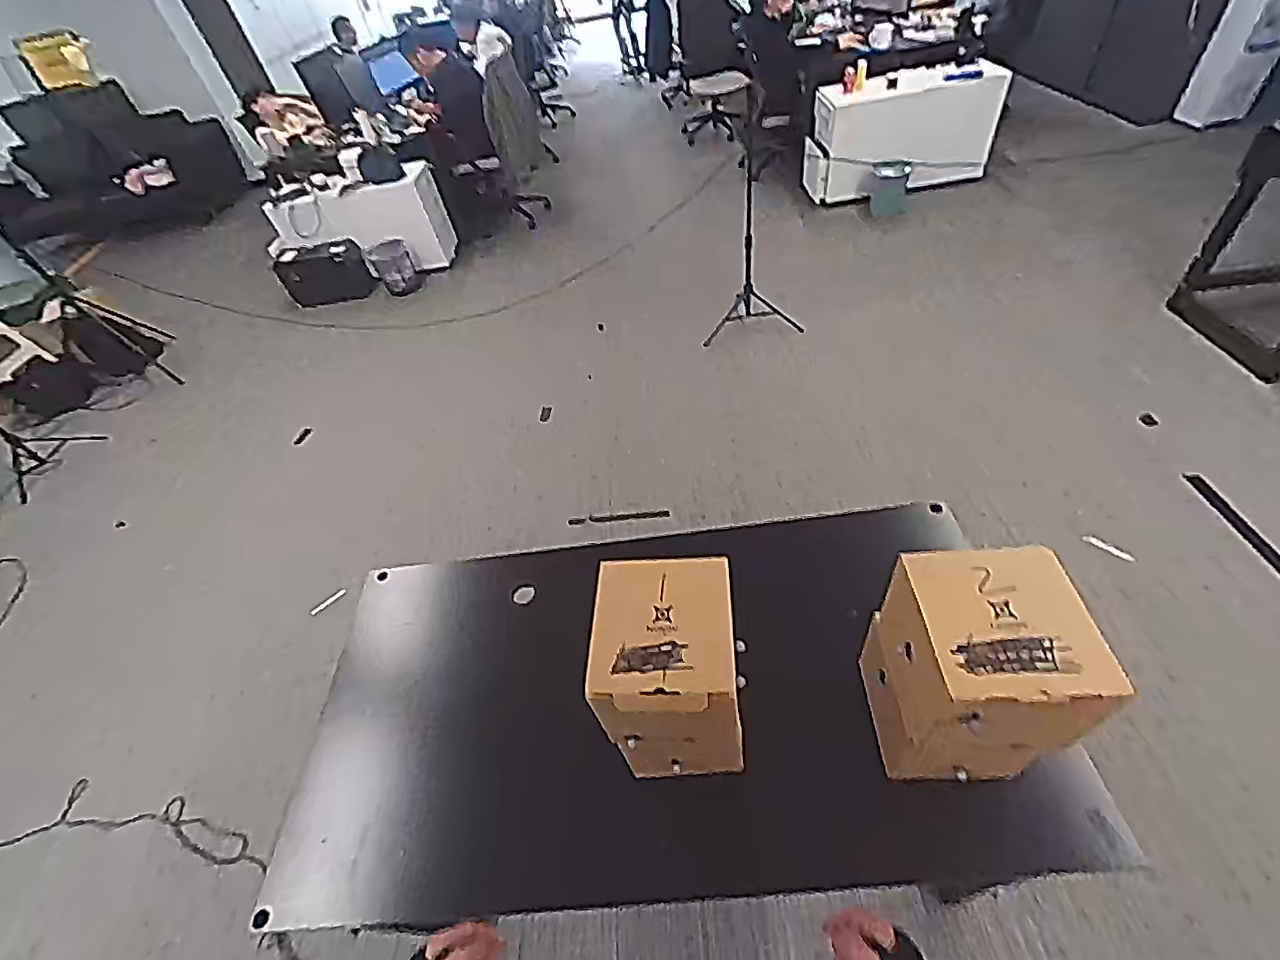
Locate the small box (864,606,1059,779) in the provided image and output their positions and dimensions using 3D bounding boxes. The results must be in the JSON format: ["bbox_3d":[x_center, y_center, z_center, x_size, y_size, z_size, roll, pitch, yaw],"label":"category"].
[{"bbox_3d":[0.424,0.296,0.754,0.168,0.176,0.179,-5,47,9],"label":"small box"}]

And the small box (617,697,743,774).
[{"bbox_3d":[0.060,0.319,0.811,0.168,0.176,0.179,-7,47,5],"label":"small box"}]

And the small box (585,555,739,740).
[{"bbox_3d":[0.037,0.216,0.685,0.168,0.176,0.179,-3,47,8],"label":"small box"}]
